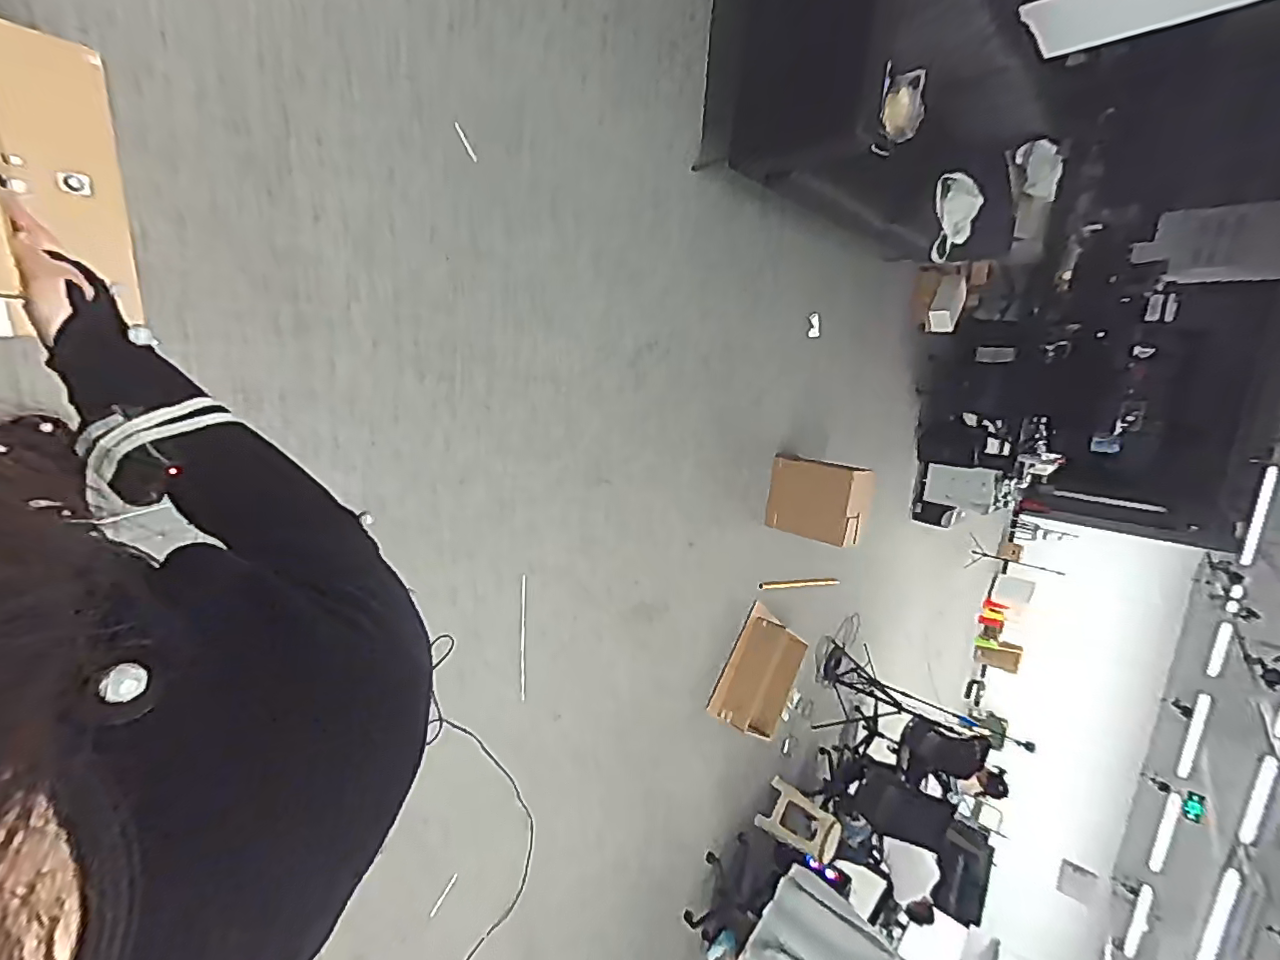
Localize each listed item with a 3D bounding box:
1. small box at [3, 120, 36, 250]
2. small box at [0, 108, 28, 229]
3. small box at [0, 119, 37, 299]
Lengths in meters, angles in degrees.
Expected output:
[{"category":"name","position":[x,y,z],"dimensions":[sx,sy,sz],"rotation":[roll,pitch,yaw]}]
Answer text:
[{"category":"small box","position":[-0.845,-0.369,0.627],"dimensions":[0.168,0.176,0.179],"rotation":[-14,112,-43]},{"category":"small box","position":[-0.729,-0.334,0.513],"dimensions":[0.179,0.176,0.168],"rotation":[-14,110,-42]},{"category":"small box","position":[-0.526,-0.213,0.344],"dimensions":[0.168,0.176,0.179],"rotation":[-13,113,-43]}]
